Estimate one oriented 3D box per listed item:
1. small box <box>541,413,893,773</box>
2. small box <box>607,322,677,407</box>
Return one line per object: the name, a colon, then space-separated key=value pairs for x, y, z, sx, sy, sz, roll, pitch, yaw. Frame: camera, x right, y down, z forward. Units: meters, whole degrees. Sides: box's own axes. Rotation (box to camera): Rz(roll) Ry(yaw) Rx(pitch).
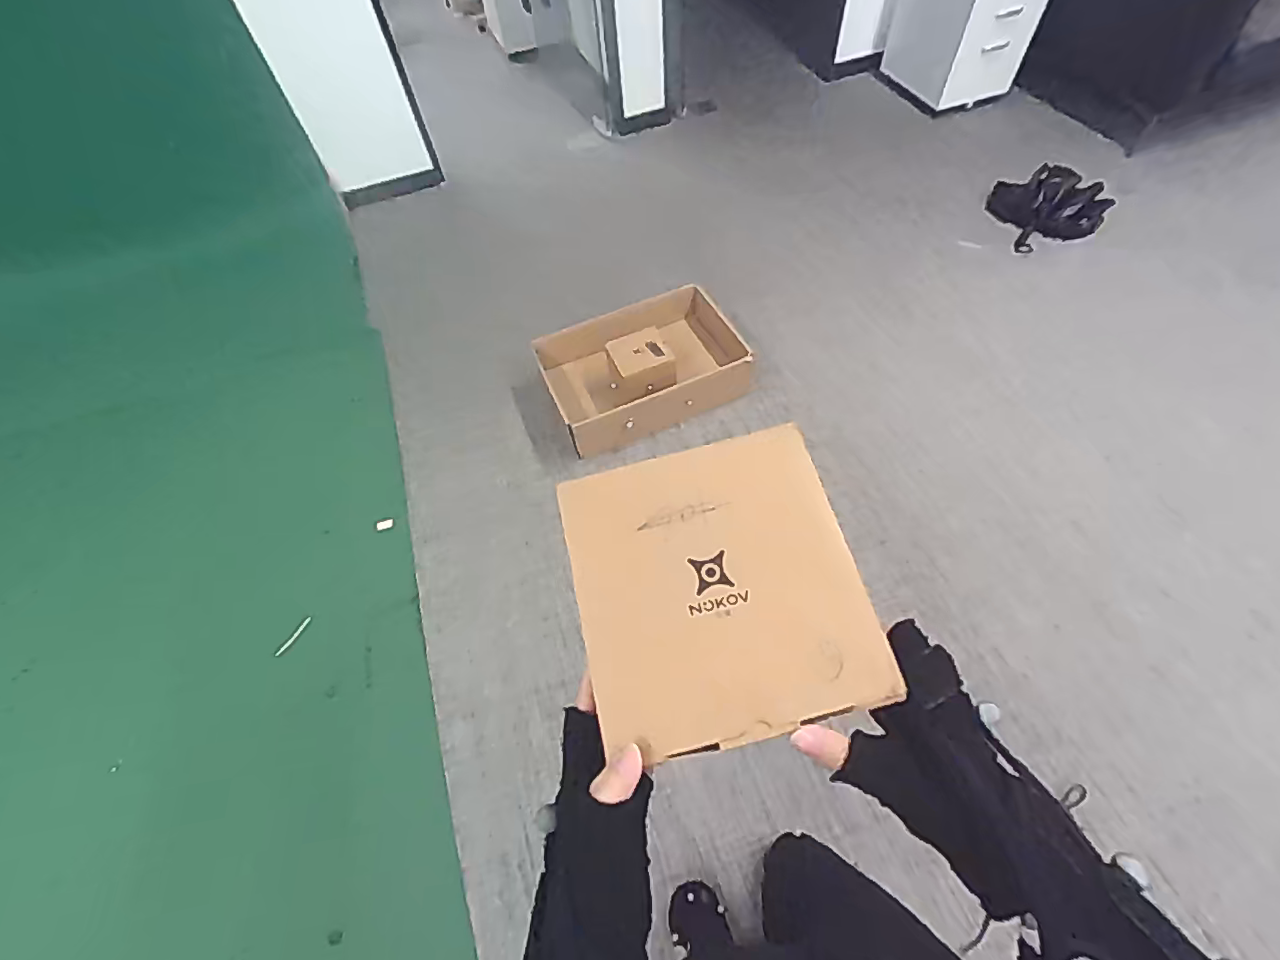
small box: x=0.046 y=0.085 z=0.394 sx=0.168 sy=0.176 sz=0.179 roll=-19 pitch=66 yaw=-1
small box: x=0.011 y=-0.367 z=1.734 sx=0.179 sy=0.176 sz=0.168 roll=-22 pitch=58 yaw=-7
